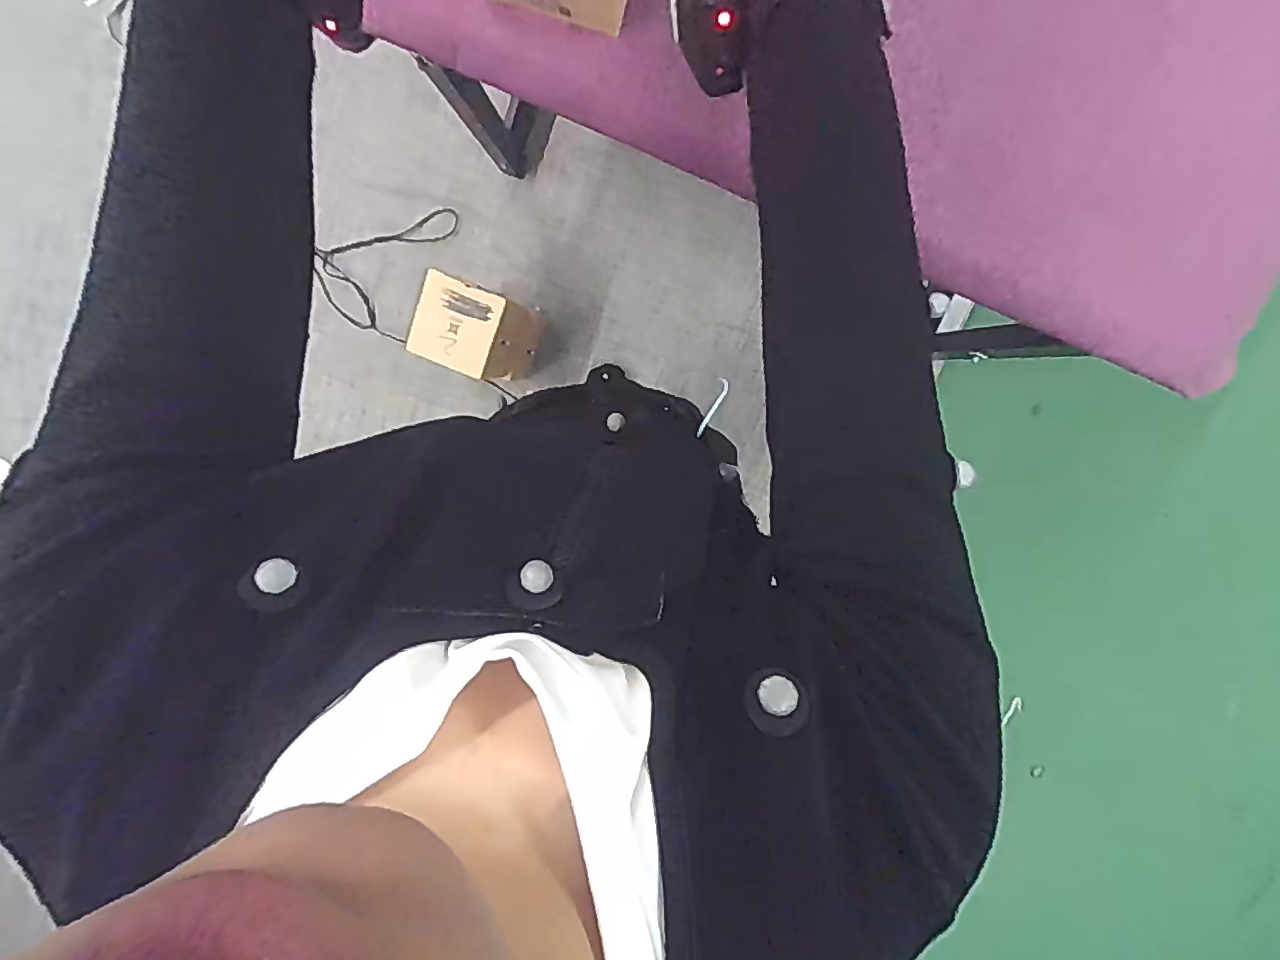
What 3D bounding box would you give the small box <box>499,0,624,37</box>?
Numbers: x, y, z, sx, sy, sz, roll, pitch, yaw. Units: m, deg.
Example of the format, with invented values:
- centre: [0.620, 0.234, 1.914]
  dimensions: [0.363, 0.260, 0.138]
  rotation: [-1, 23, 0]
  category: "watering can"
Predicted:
- centre: [-0.082, -0.606, 0.537]
  dimensions: [0.168, 0.176, 0.179]
  rotation: [17, 100, -3]
  category: "small box"
